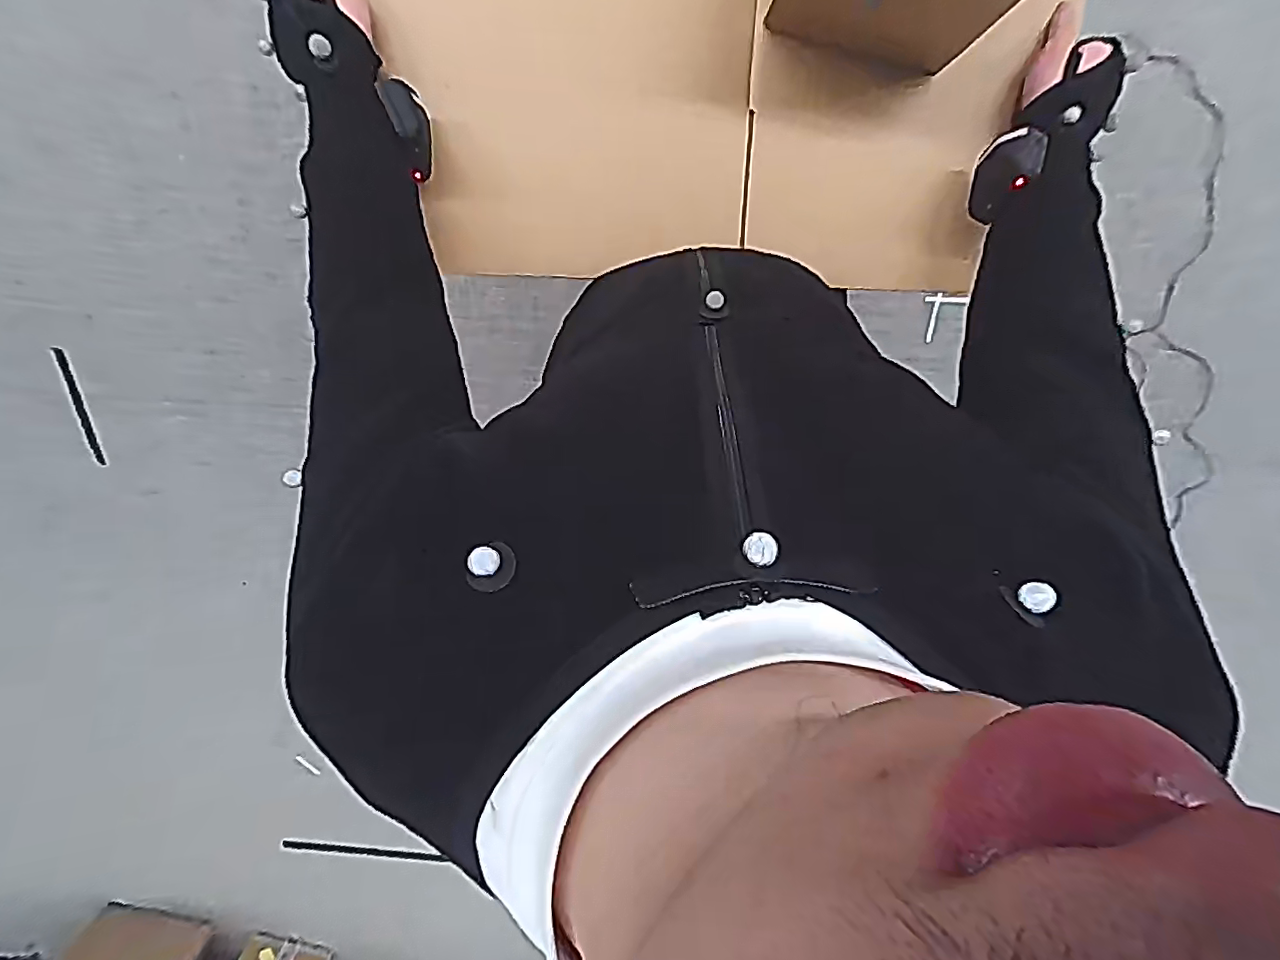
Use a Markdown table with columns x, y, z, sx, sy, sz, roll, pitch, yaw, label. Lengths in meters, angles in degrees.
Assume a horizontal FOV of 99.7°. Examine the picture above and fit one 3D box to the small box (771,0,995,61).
| x | y | z | sx | sy | sz | roll | pitch | yaw | label |
| --- | --- | --- | --- | --- | --- | --- | --- | --- | --- |
| 0.215 | -0.463 | 0.411 | 0.179 | 0.176 | 0.168 | 13 | 105 | -2 | small box |
